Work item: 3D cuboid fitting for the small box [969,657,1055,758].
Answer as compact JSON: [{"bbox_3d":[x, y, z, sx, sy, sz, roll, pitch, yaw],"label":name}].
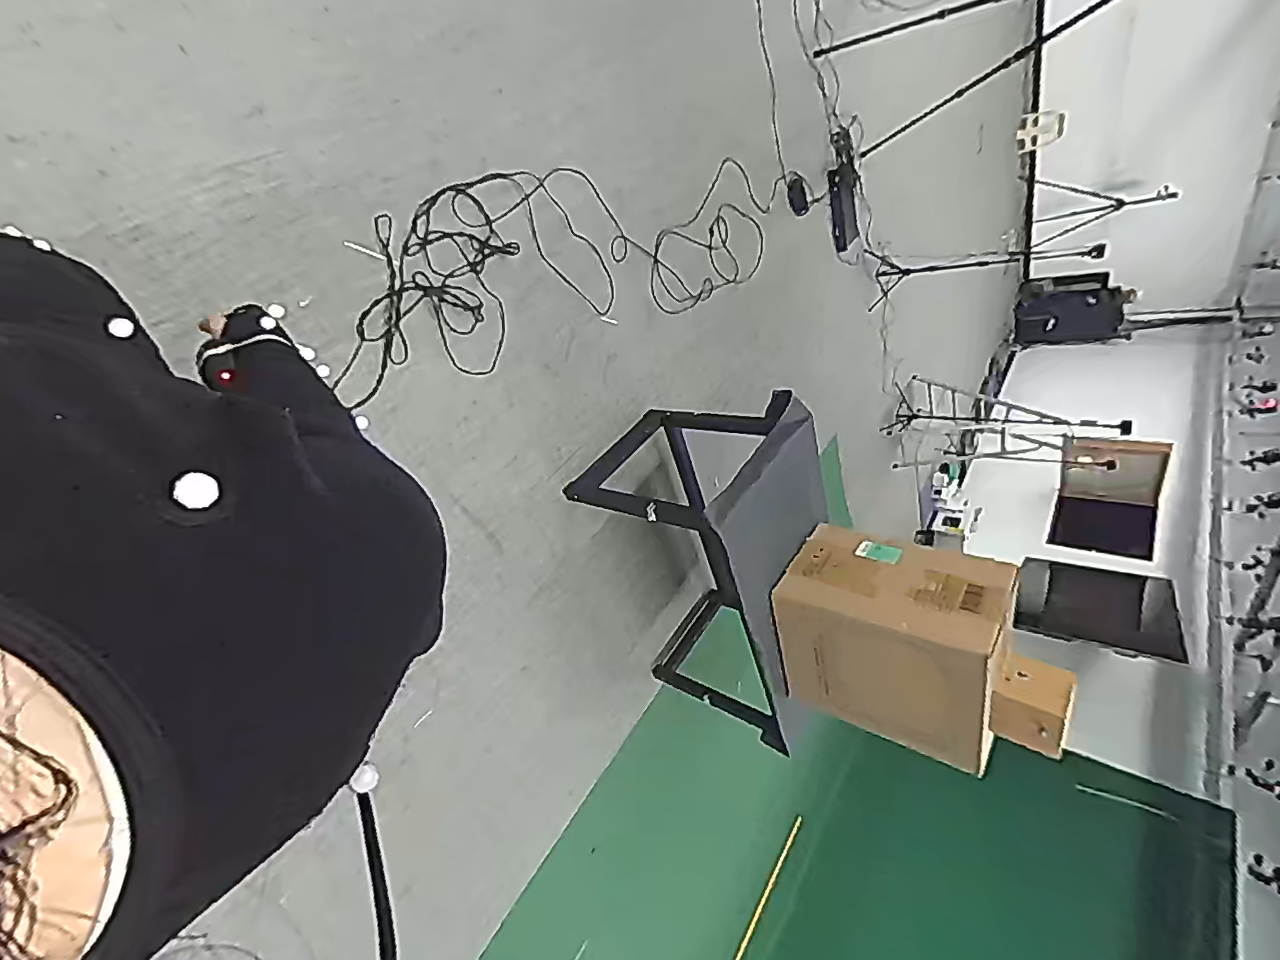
[{"bbox_3d":[1.059,0.642,1.547,0.168,0.176,0.179,-37,124,-36],"label":"small box"}]
